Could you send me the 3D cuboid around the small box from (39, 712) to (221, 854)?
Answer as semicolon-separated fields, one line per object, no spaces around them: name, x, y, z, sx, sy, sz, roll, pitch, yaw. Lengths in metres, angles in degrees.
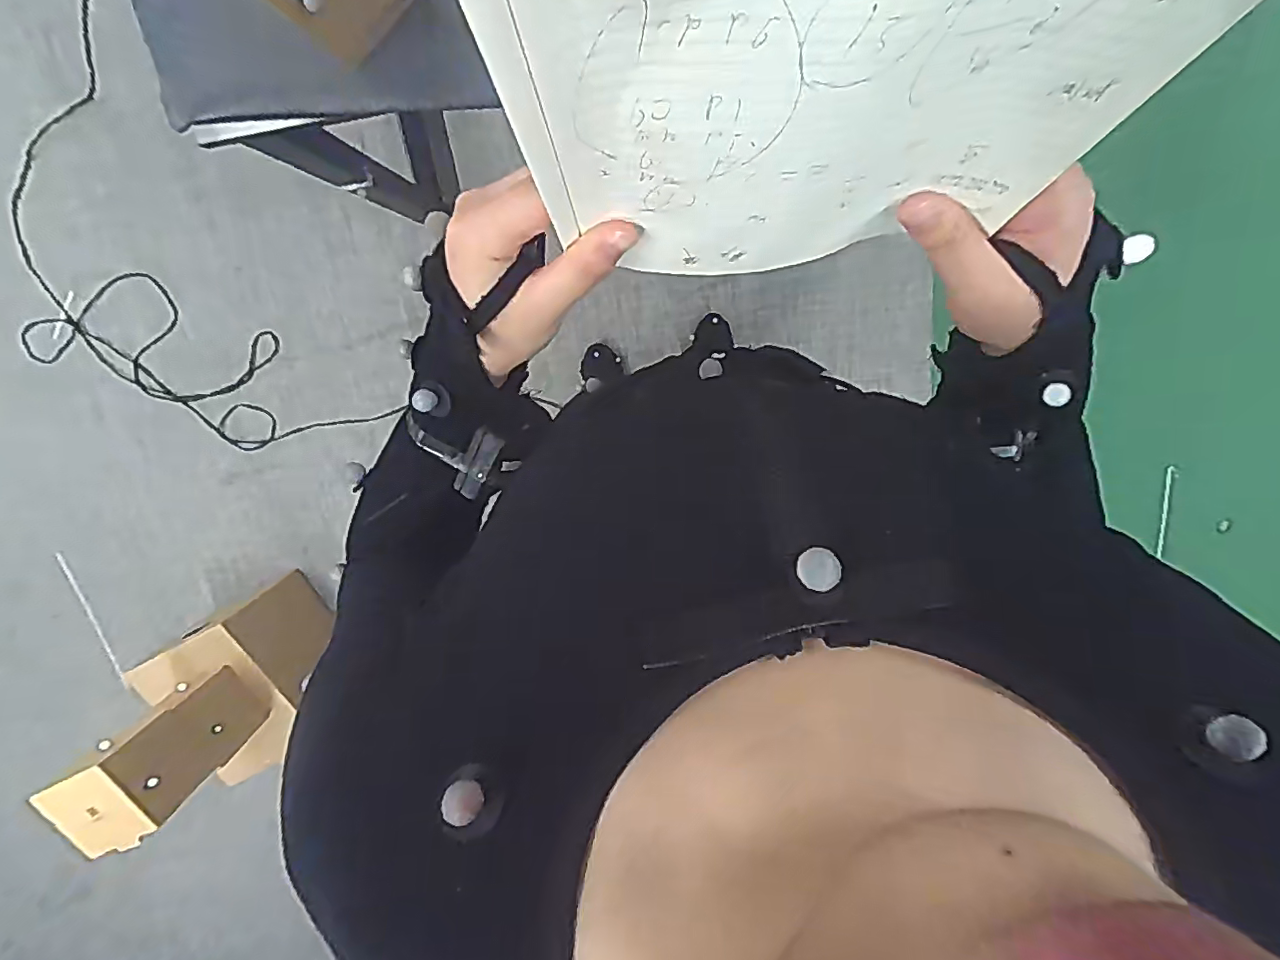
small box;-1.038;0.612;1.119;0.168;0.176;0.179;-26;105;6

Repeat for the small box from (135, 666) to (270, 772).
small box;-1.033;0.580;1.278;0.168;0.176;0.179;-26;104;6
